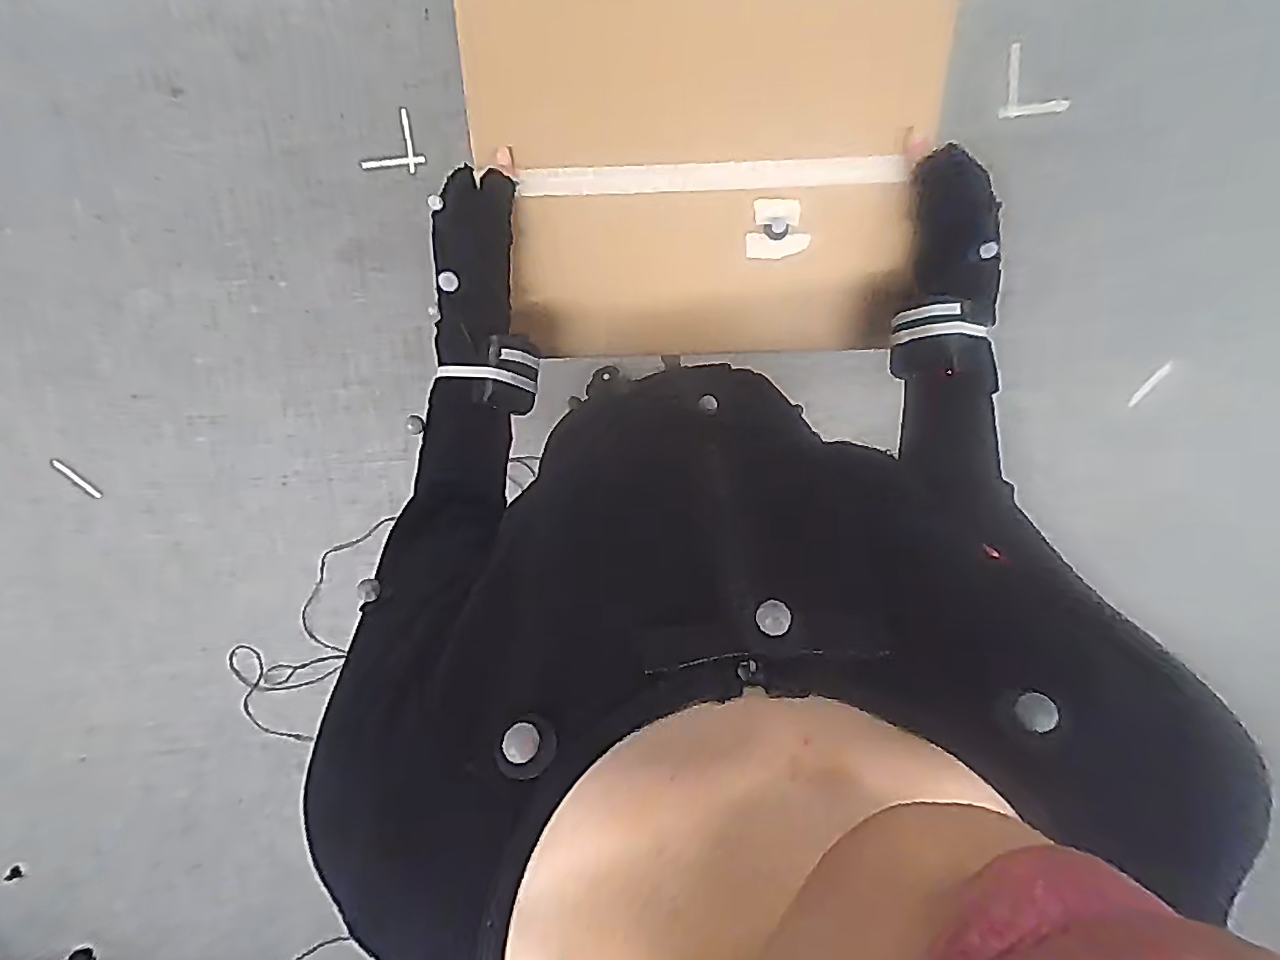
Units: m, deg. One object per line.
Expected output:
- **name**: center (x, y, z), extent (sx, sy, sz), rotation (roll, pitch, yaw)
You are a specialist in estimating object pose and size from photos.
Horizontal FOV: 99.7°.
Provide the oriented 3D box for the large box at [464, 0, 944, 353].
- **large box**: center (0.057, -0.337, 0.632), extent (0.408, 0.320, 0.320), rotation (-2, 113, 1)
